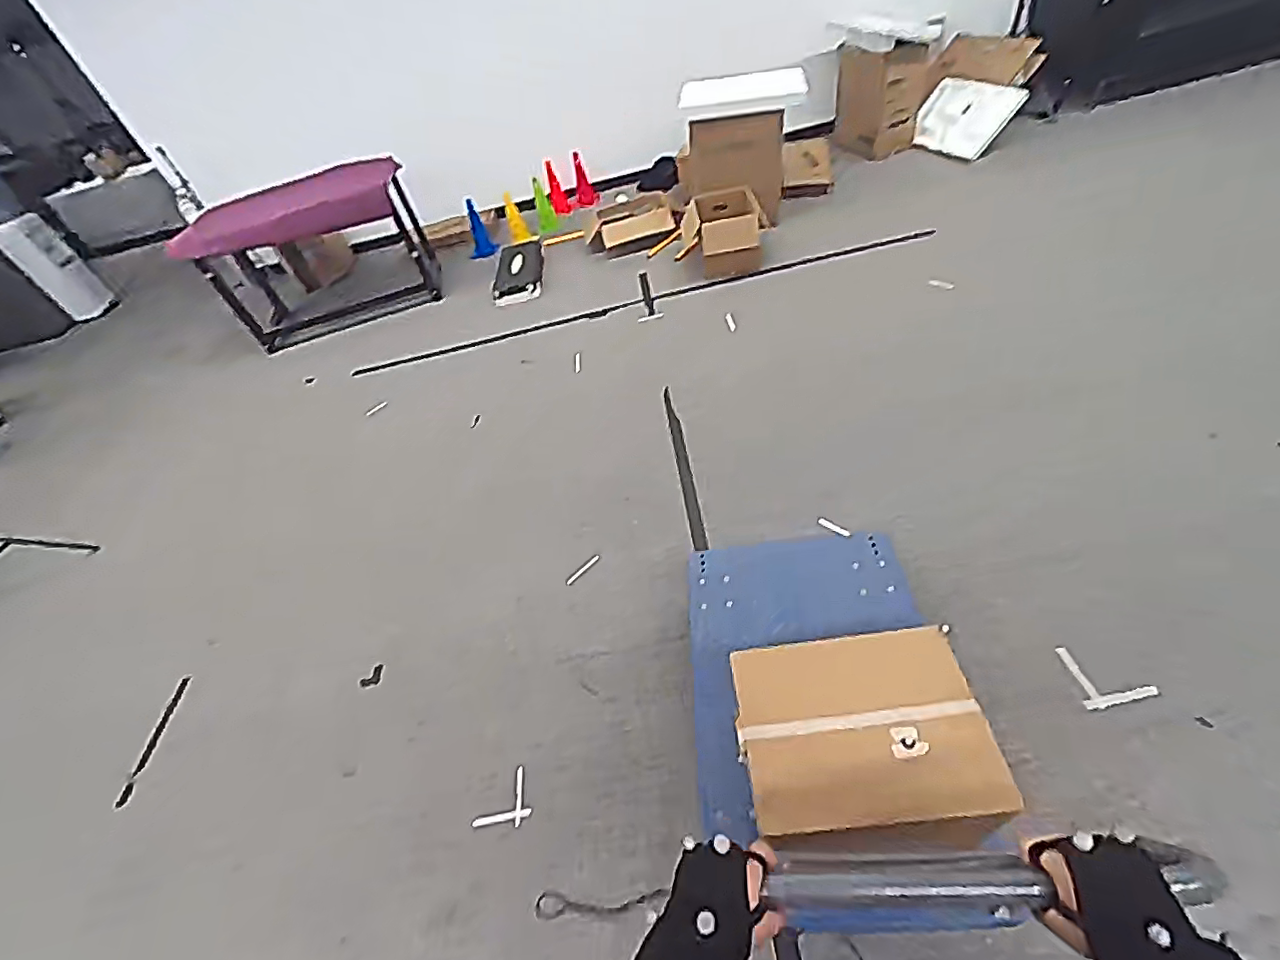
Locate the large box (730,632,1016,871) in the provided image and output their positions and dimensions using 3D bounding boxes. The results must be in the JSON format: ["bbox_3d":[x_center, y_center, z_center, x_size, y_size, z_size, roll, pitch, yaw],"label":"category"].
[{"bbox_3d":[0.408,0.538,1.062,0.408,0.320,0.320,-9,46,5],"label":"large box"}]
